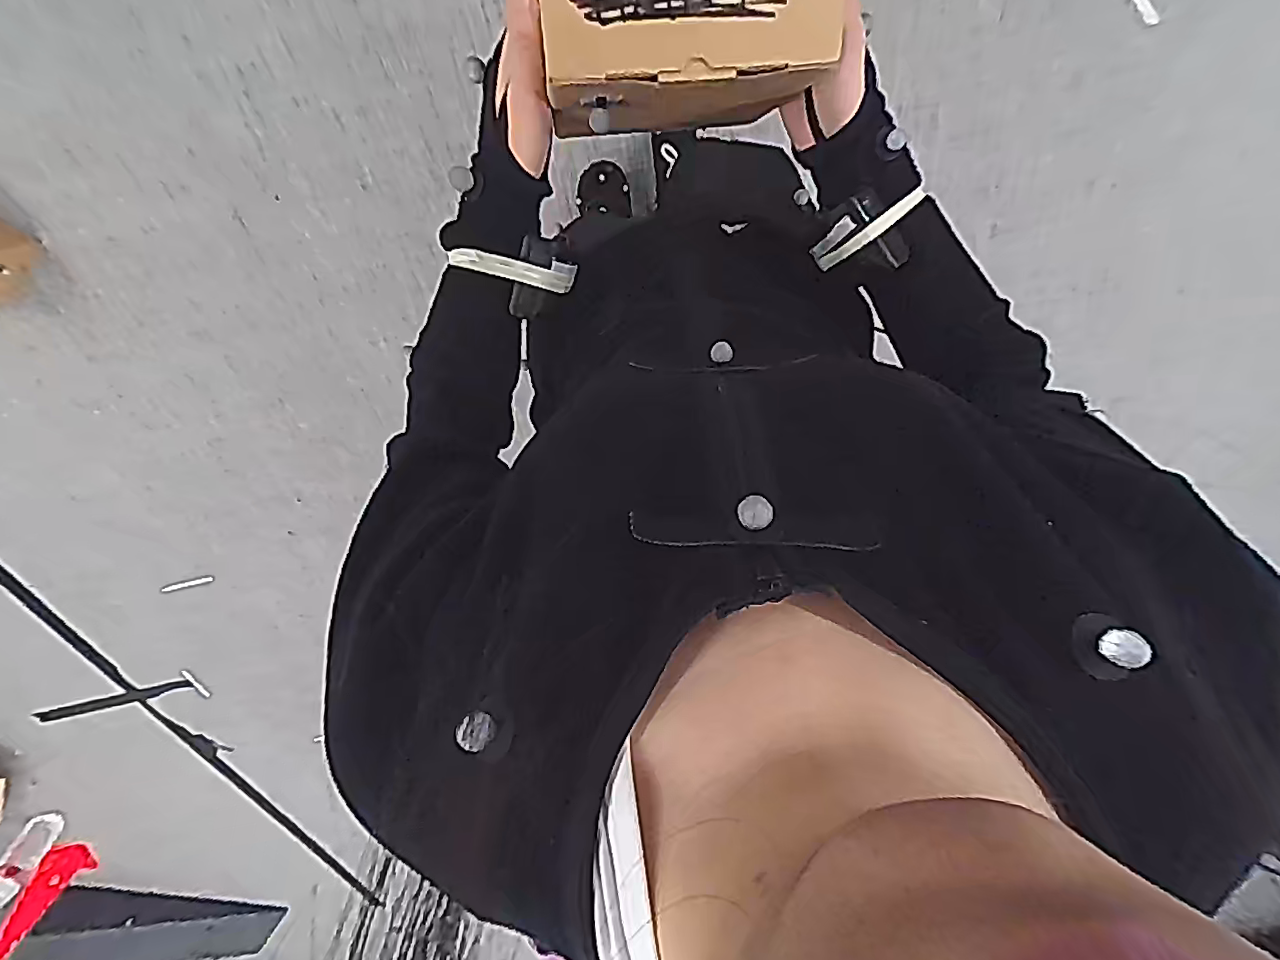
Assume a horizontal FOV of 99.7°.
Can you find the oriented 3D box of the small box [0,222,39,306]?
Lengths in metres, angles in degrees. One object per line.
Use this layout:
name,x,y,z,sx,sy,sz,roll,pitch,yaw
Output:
small box,-1.371,-0.449,1.066,0.179,0.176,0.168,35,109,-24
